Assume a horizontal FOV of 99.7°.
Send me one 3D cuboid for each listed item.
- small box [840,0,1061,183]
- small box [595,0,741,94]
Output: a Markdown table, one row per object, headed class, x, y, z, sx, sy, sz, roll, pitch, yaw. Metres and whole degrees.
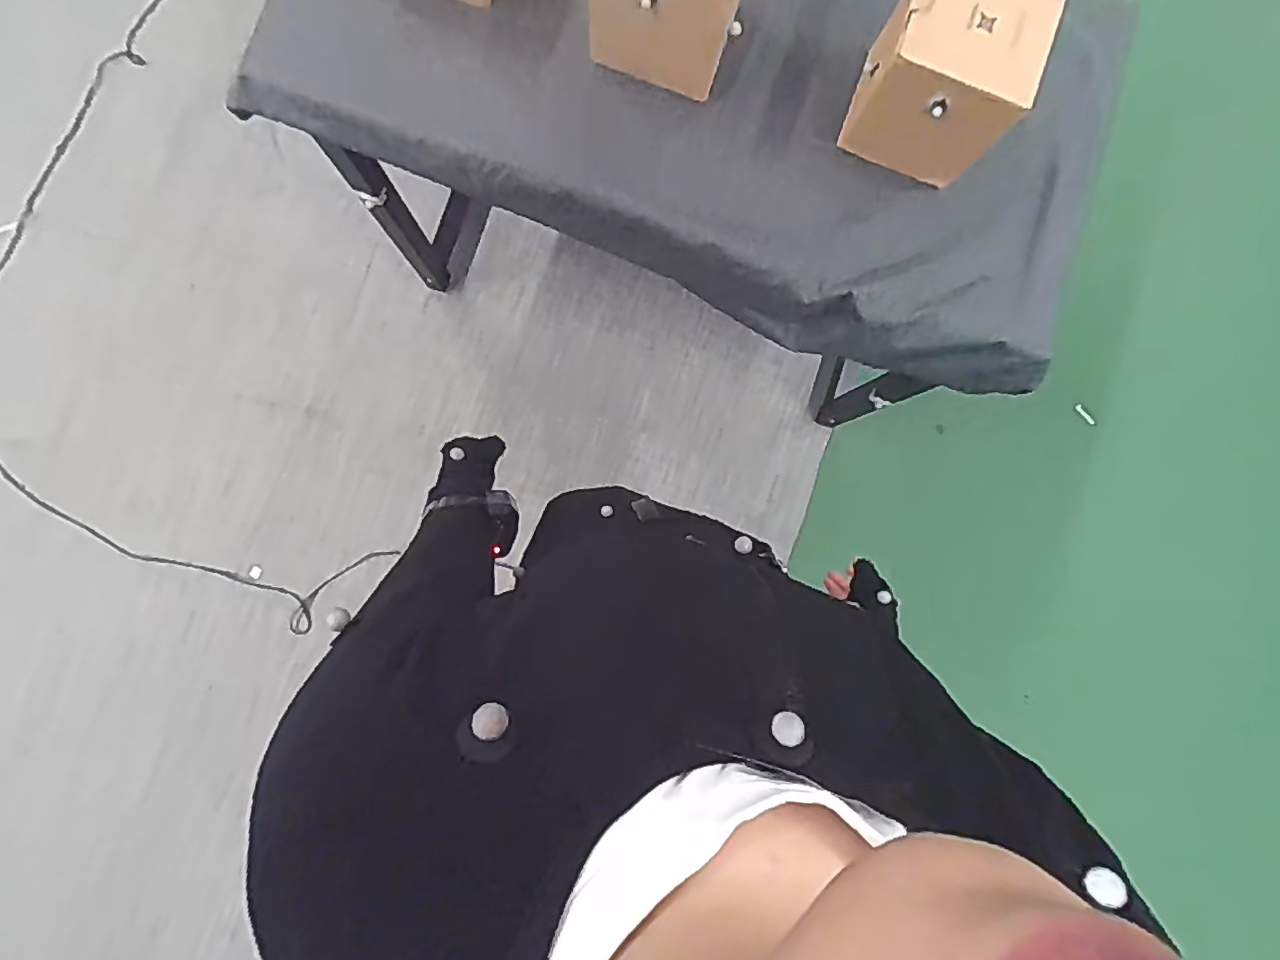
| class | x | y | z | sx | sy | sz | roll | pitch | yaw |
| --- | --- | --- | --- | --- | --- | --- | --- | --- | --- |
| small box | 0.400 | -0.541 | 0.727 | 0.179 | 0.176 | 0.168 | 20 | 86 | -4 |
| small box | 0.045 | -0.656 | 0.705 | 0.179 | 0.176 | 0.168 | 19 | 85 | -3 |
